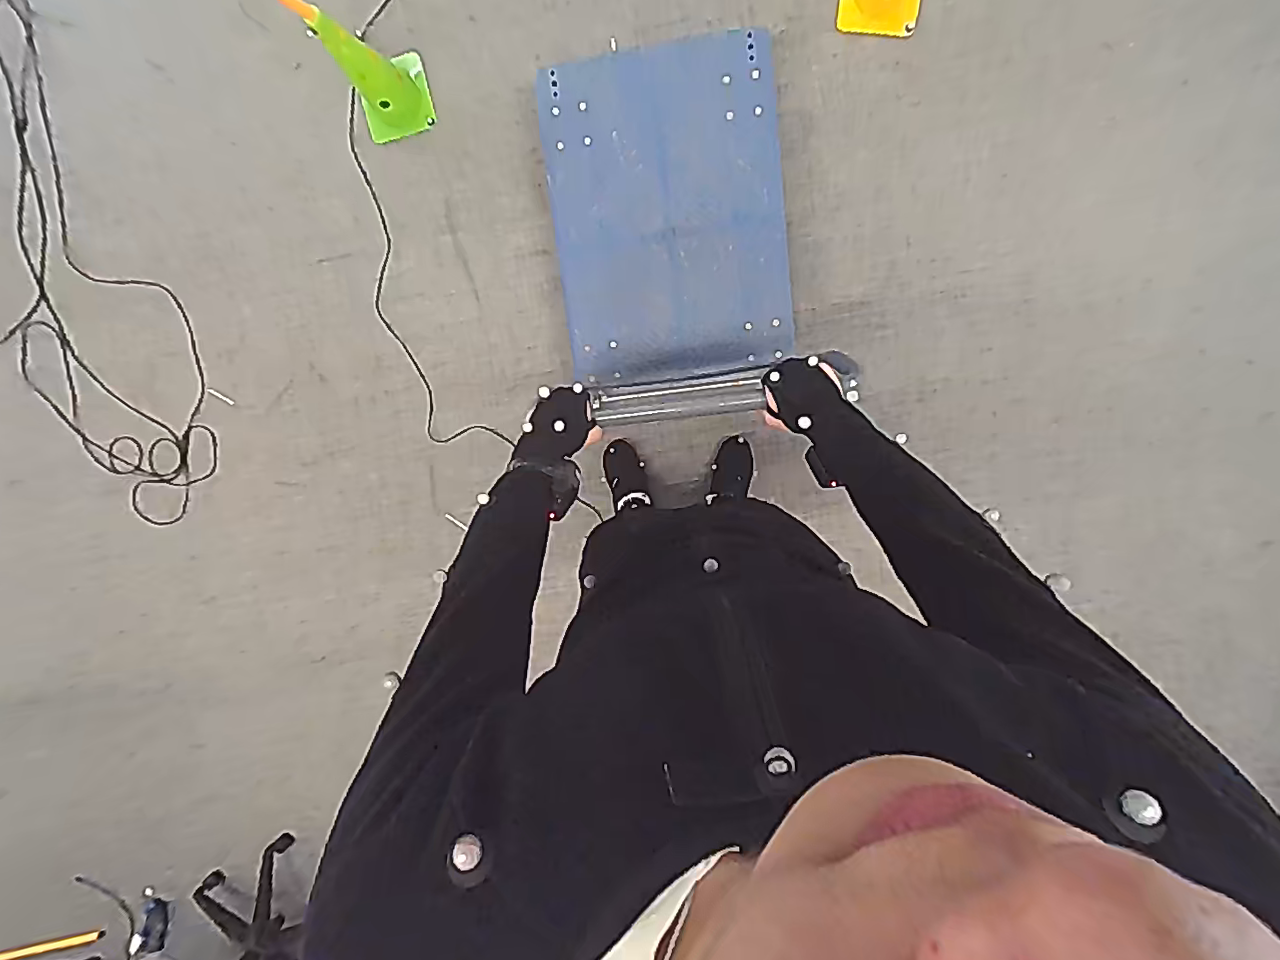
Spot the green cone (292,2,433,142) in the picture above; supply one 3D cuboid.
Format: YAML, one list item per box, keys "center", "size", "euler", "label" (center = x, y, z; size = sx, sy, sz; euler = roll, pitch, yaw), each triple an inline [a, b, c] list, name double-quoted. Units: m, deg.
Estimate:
- center: [-0.711, -1.050, 1.347]
  size: [0.202, 0.368, 0.200]
  euler: [-12, 97, 9]
  label: "green cone"
